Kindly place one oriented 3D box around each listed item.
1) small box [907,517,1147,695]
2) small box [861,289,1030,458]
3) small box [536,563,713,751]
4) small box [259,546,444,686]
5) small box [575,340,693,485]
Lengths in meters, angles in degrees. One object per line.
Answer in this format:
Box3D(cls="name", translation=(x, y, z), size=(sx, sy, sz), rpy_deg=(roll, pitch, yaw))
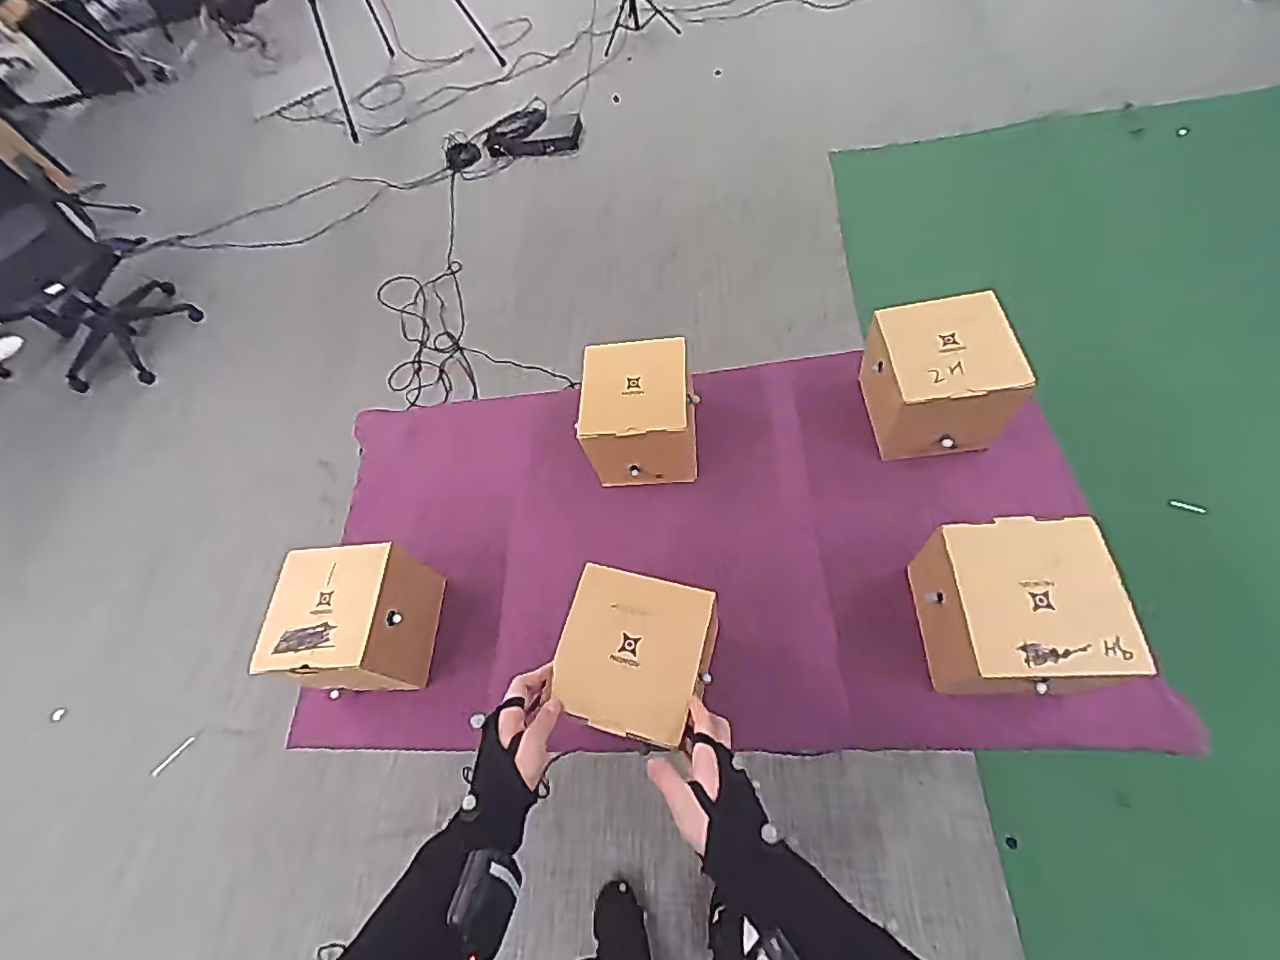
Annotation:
Box3D(cls="small box", translation=(0.445, 0.160, 0.662), size=(0.168, 0.176, 0.179), rpy_deg=(-5, 62, 12))
Box3D(cls="small box", translation=(0.446, -0.155, 0.825), size=(0.168, 0.176, 0.179), rpy_deg=(-8, 62, 12))
Box3D(cls="small box", translation=(-0.006, 0.231, 0.699), size=(0.168, 0.176, 0.179), rpy_deg=(12, 67, 16))
Box3D(cls="small box", translation=(-0.423, 0.216, 0.828), size=(0.168, 0.176, 0.179), rpy_deg=(-5, 60, 9))
Box3D(cls="small box", translation=(-0.001, -0.107, 0.906), size=(0.168, 0.176, 0.179), rpy_deg=(-4, 64, 10))
